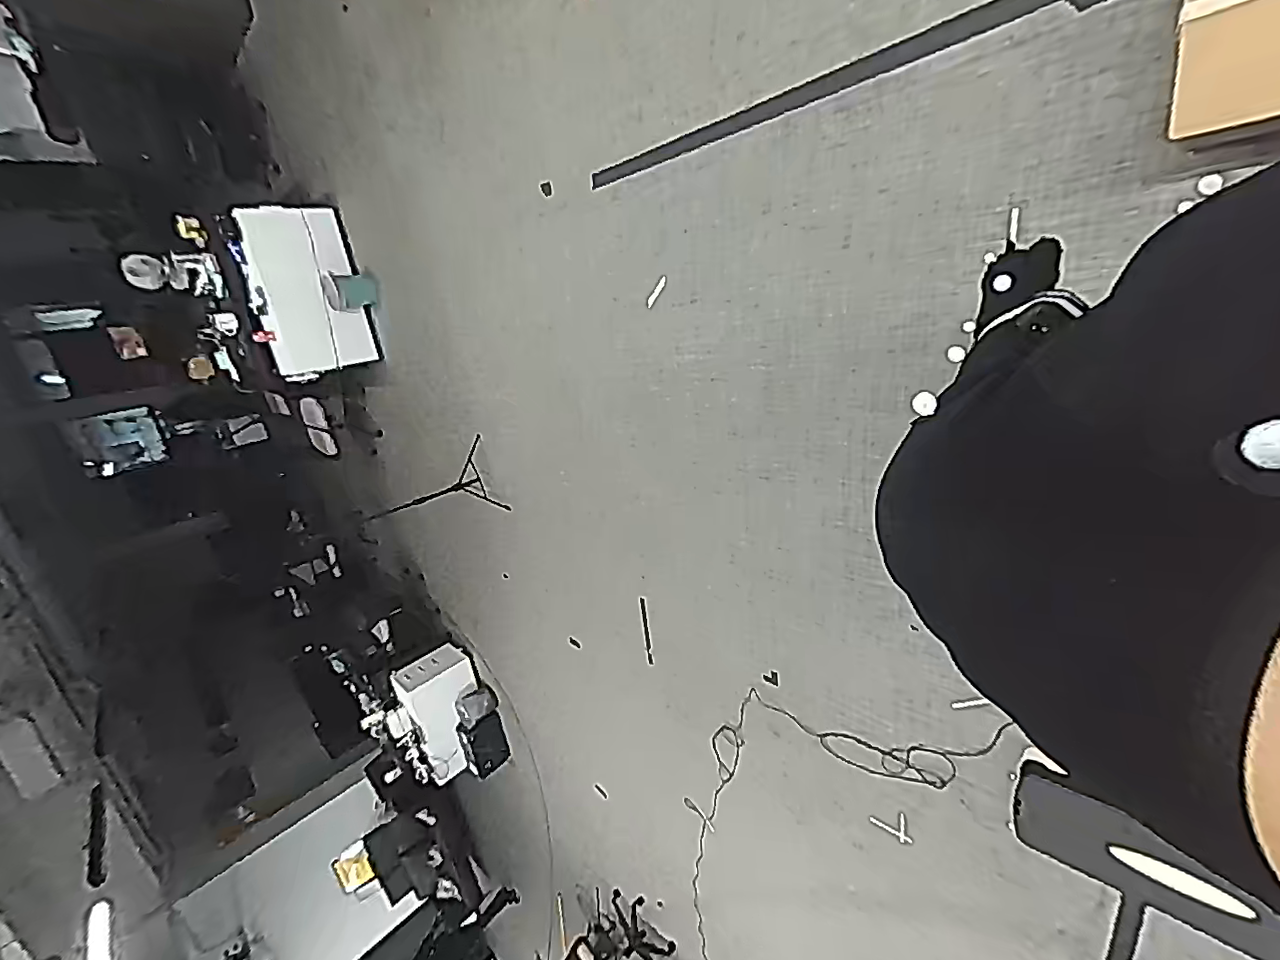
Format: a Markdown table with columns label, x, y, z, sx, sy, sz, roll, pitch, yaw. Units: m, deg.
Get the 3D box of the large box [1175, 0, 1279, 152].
| label | x | y | z | sx | sy | sz | roll | pitch | yaw |
| --- | --- | --- | --- | --- | --- | --- | --- | --- | --- |
| large box | 0.990 | -0.668 | 0.700 | 0.408 | 0.320 | 0.320 | 8 | 116 | 44 |
